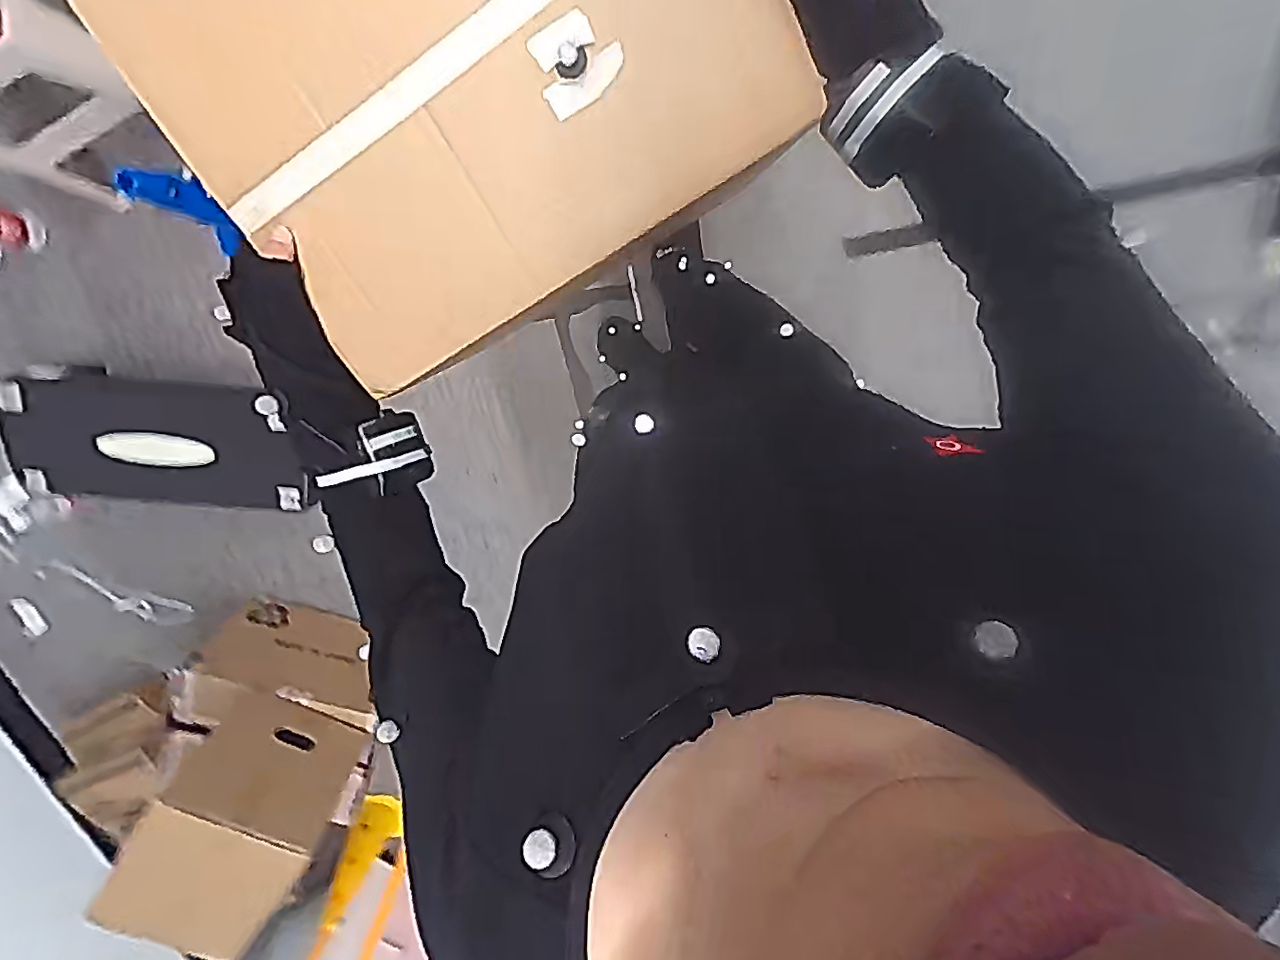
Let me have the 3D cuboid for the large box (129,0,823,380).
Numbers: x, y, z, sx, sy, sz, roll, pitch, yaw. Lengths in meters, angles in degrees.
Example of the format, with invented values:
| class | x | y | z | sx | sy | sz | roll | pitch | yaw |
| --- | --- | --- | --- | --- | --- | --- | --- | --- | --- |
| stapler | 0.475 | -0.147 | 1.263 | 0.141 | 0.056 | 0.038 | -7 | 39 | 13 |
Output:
| class | x | y | z | sx | sy | sz | roll | pitch | yaw |
| --- | --- | --- | --- | --- | --- | --- | --- | --- | --- |
| large box | -0.110 | -0.345 | 0.519 | 0.408 | 0.320 | 0.320 | -27 | 107 | 11 |
